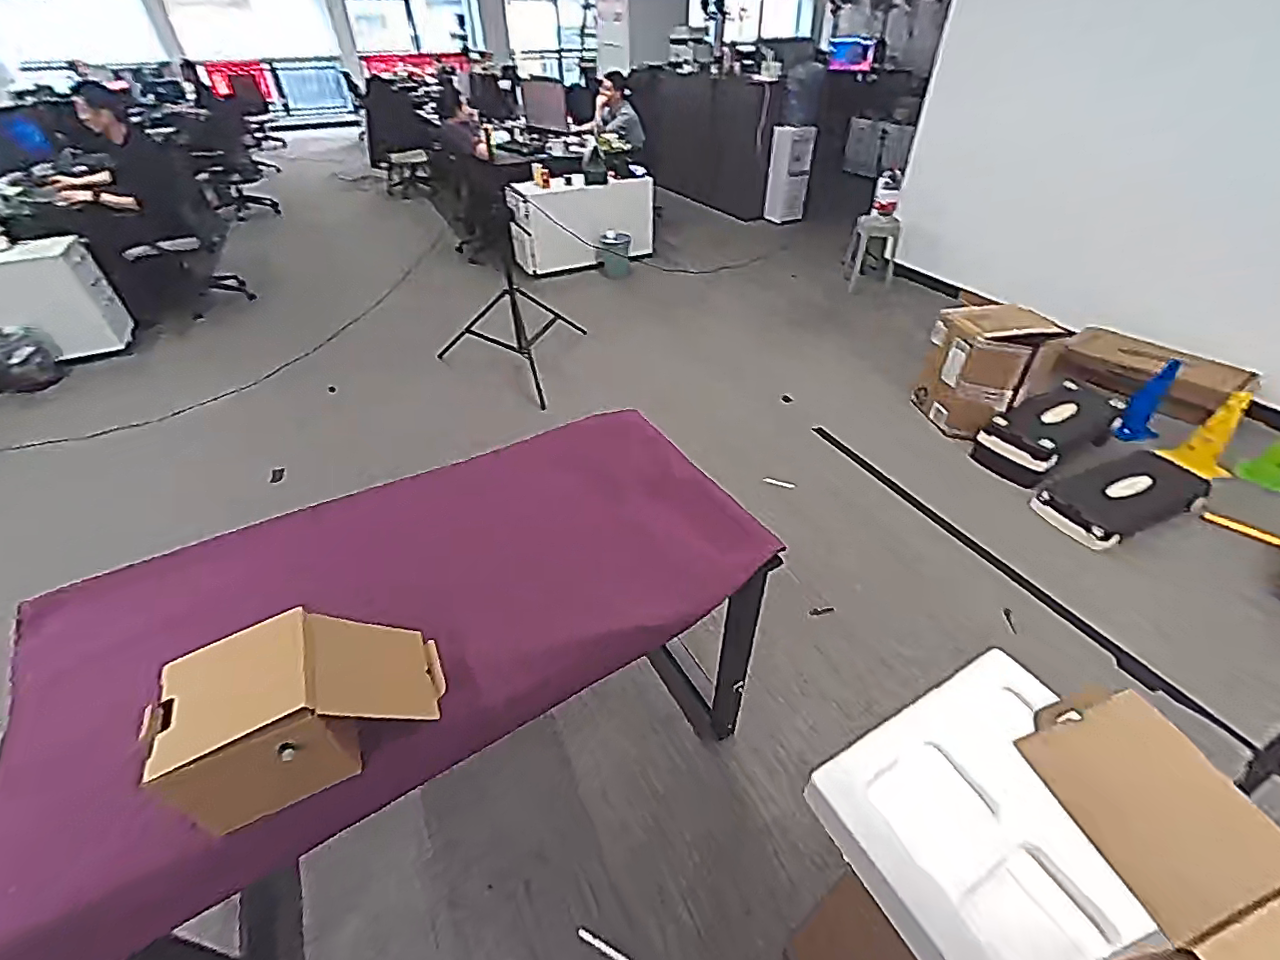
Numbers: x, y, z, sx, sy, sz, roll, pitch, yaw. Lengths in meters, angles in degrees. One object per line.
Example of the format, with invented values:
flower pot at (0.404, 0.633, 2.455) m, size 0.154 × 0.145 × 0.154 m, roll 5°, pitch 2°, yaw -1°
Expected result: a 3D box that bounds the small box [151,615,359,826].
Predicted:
small box at (-0.496, 0.321, 0.730) m, size 0.179 × 0.176 × 0.168 m, roll -19°, pitch 43°, yaw -19°
